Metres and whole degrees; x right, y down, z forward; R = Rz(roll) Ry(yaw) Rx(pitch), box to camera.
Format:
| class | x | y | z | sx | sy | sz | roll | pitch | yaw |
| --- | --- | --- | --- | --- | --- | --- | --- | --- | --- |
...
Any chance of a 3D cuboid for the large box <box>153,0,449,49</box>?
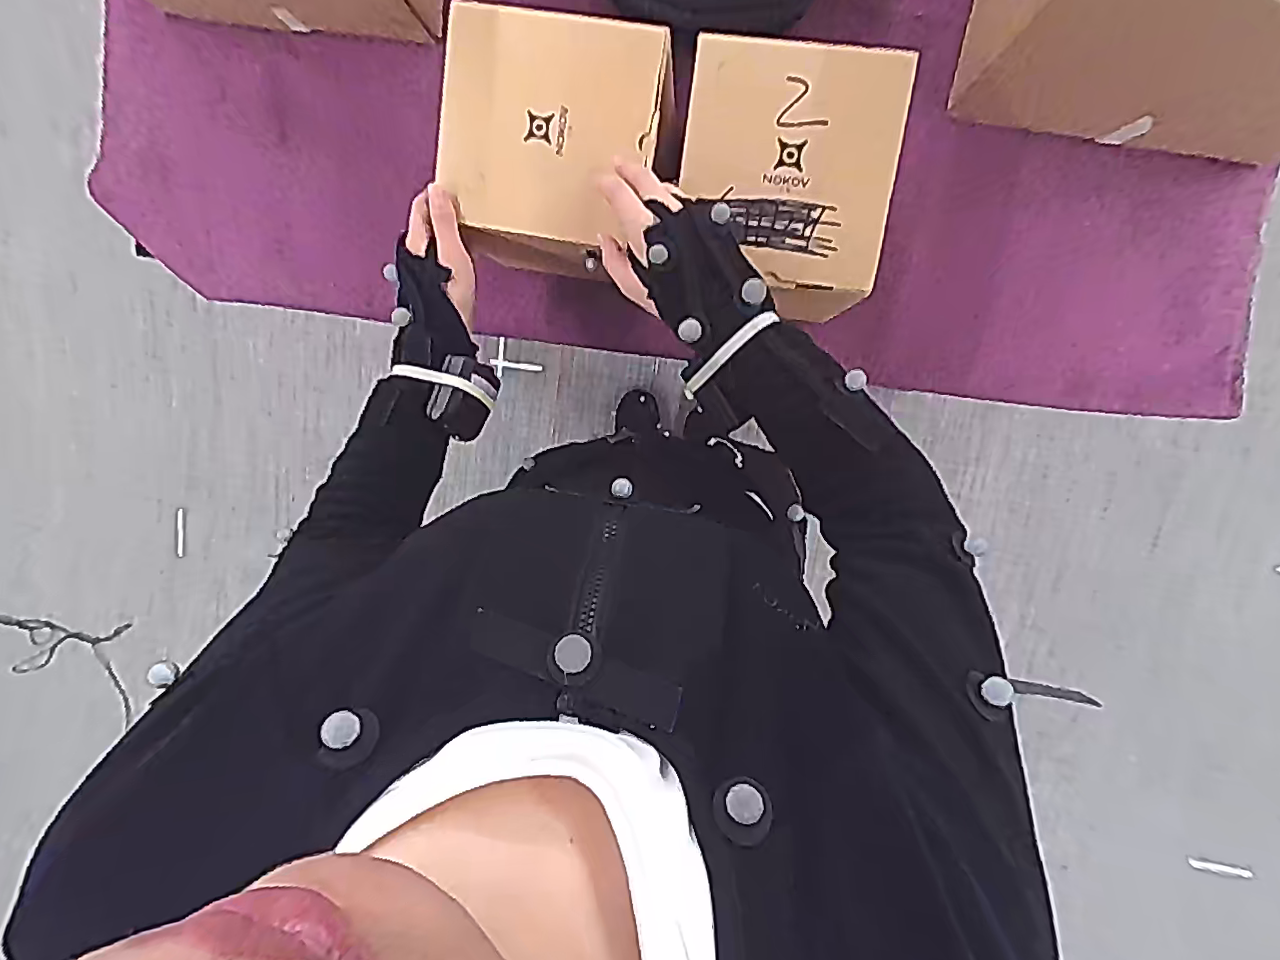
| class | x | y | z | sx | sy | sz | roll | pitch | yaw |
| --- | --- | --- | --- | --- | --- | --- | --- | --- | --- |
| large box | -0.347 | -0.652 | 0.411 | 0.320 | 0.320 | 0.408 | 7 | 102 | 3 |
